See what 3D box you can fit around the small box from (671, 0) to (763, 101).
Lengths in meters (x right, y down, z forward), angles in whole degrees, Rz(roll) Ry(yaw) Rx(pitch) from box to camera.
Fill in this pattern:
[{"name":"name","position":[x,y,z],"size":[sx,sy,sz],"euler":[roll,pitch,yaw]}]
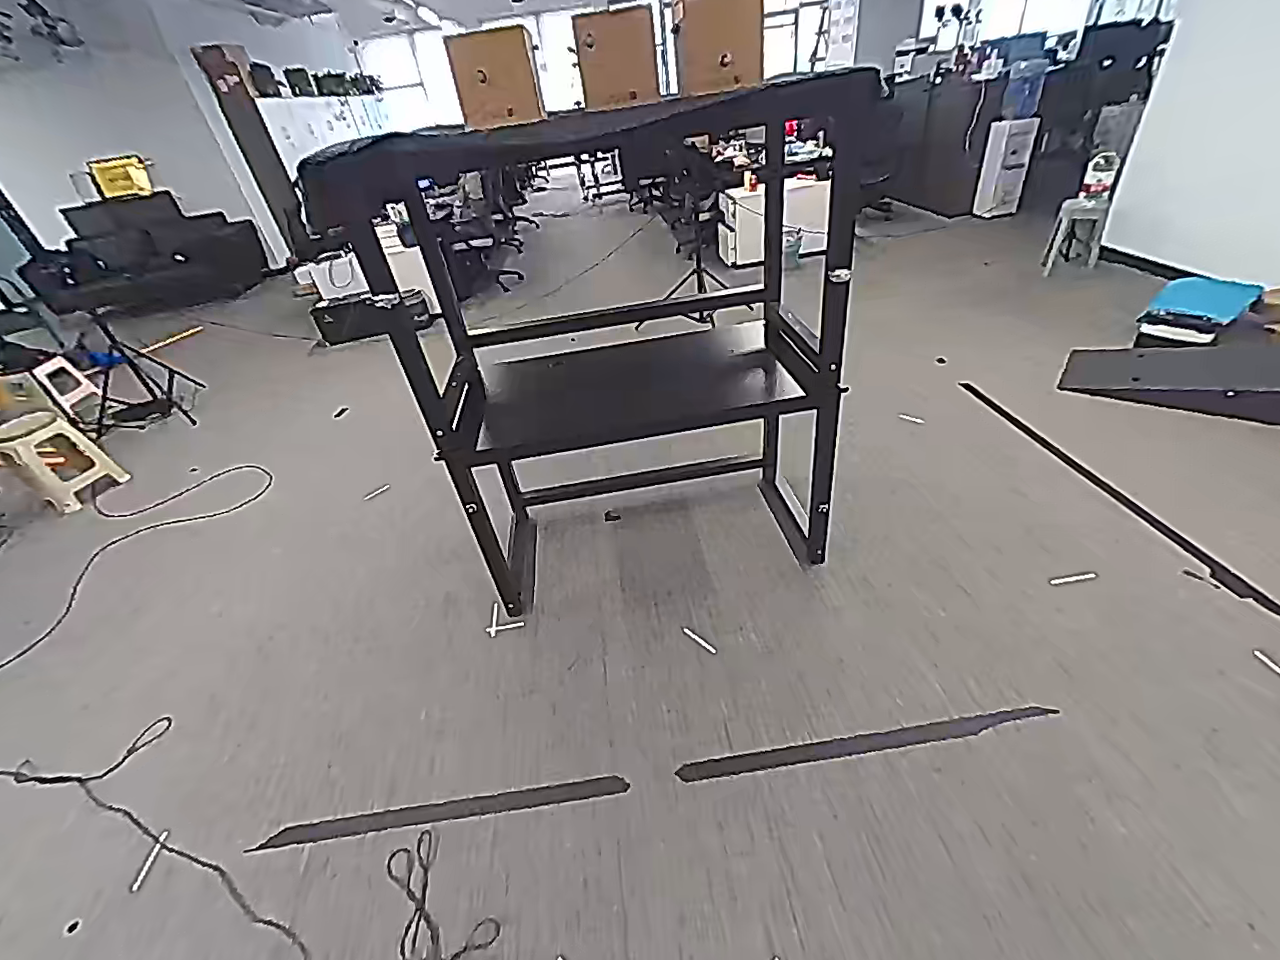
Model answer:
[{"name":"small box","position":[0.165,-0.940,1.179],"size":[0.168,0.176,0.179],"euler":[-10,36,1]}]

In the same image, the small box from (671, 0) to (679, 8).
[{"name":"small box","position":[0.145,-1.073,1.085],"size":[0.168,0.176,0.179],"euler":[-9,36,1]}]

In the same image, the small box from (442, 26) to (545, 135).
[{"name":"small box","position":[-0.311,-0.870,1.190],"size":[0.168,0.176,0.179],"euler":[-8,35,1]}]
